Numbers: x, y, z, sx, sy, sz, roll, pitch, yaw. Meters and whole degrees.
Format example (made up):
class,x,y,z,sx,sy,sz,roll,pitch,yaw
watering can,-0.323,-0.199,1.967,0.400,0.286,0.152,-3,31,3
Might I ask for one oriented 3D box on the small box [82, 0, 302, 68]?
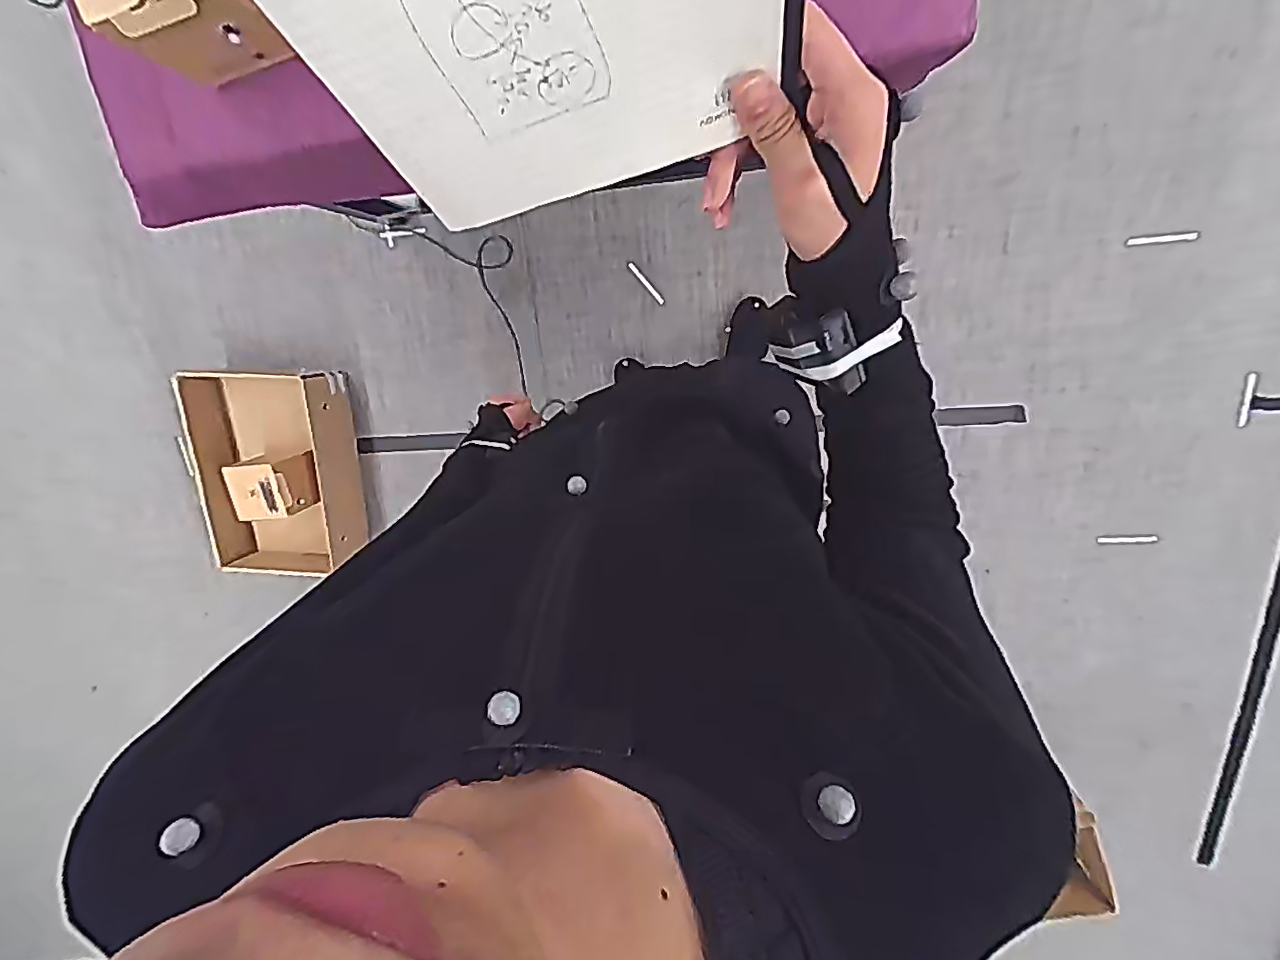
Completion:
class,x,y,z,sx,sy,sz,roll,pitch,yaw
small box,-0.561,-0.644,0.660,0.168,0.176,0.179,-11,106,9
